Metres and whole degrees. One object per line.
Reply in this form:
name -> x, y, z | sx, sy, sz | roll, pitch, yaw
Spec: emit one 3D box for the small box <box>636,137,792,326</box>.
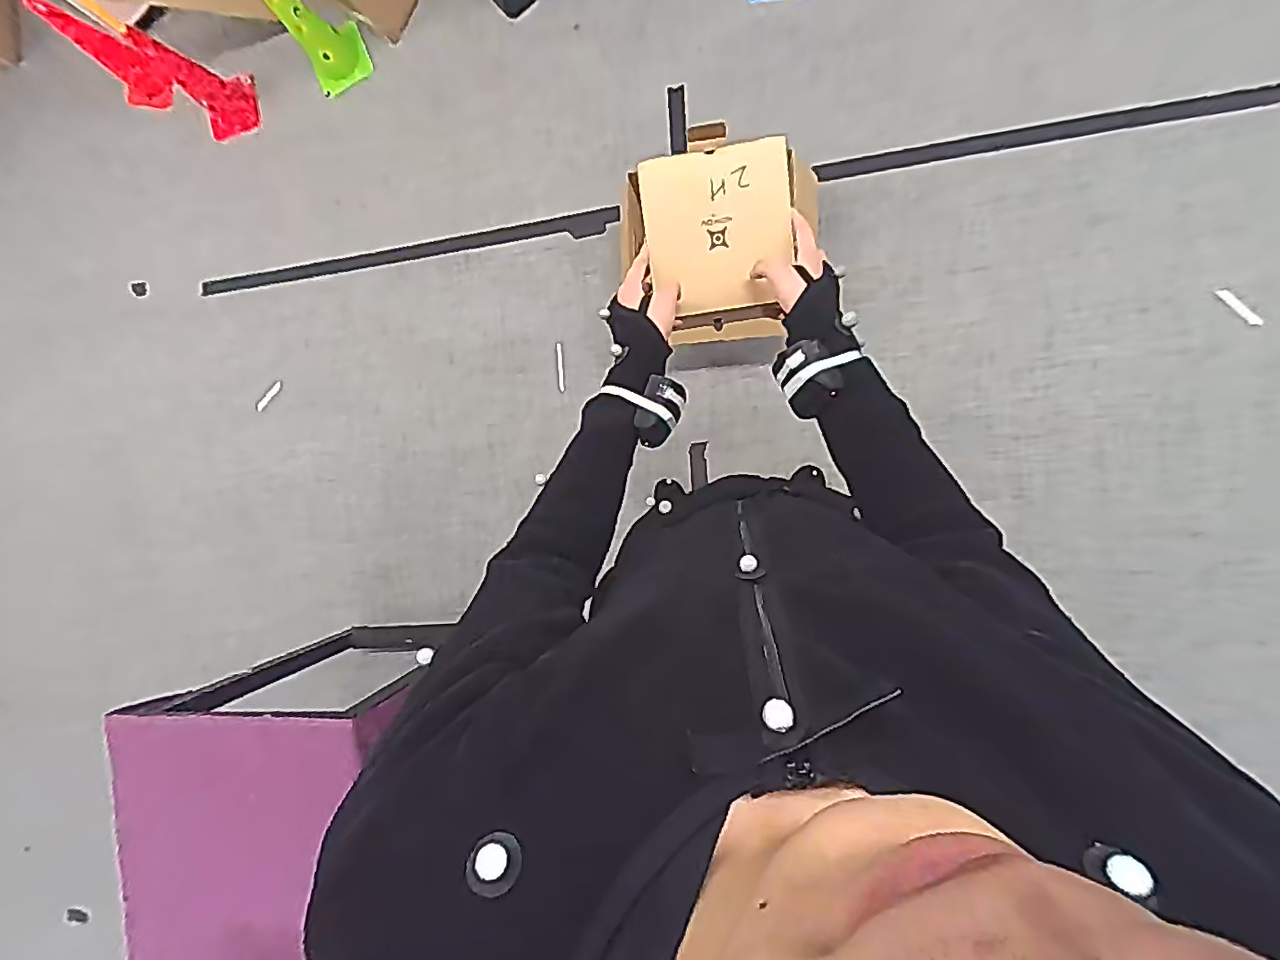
small box -> 0.093, -0.298, 0.693 | 0.168, 0.176, 0.179 | -7, 99, 6
